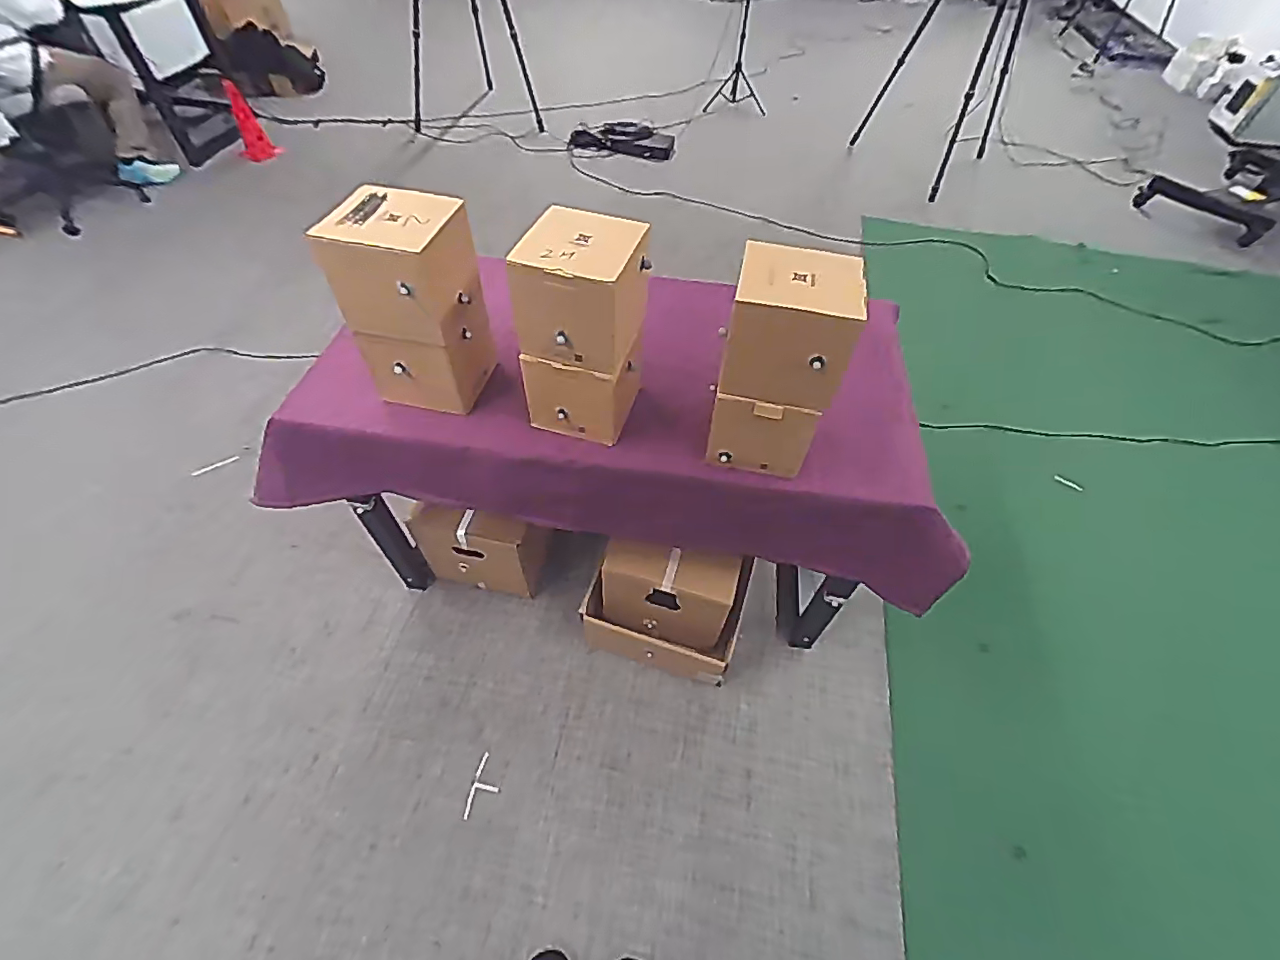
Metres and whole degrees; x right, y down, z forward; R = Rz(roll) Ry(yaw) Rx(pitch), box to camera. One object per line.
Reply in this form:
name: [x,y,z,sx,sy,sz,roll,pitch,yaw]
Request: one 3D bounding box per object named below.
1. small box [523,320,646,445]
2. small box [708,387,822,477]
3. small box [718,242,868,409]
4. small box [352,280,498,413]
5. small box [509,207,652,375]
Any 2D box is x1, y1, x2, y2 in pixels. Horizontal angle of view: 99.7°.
small box: [-0.095,-0.195,0.988,0.168,0.176,0.179,15,55,9]
small box: [0.217,-0.129,0.949,0.168,0.176,0.179,11,52,6]
small box: [0.227,-0.229,0.820,0.179,0.176,0.168,11,52,7]
small box: [-0.388,-0.247,1.013,0.179,0.176,0.168,10,54,6]
small box: [-0.087,-0.299,0.861,0.168,0.176,0.179,15,54,10]
